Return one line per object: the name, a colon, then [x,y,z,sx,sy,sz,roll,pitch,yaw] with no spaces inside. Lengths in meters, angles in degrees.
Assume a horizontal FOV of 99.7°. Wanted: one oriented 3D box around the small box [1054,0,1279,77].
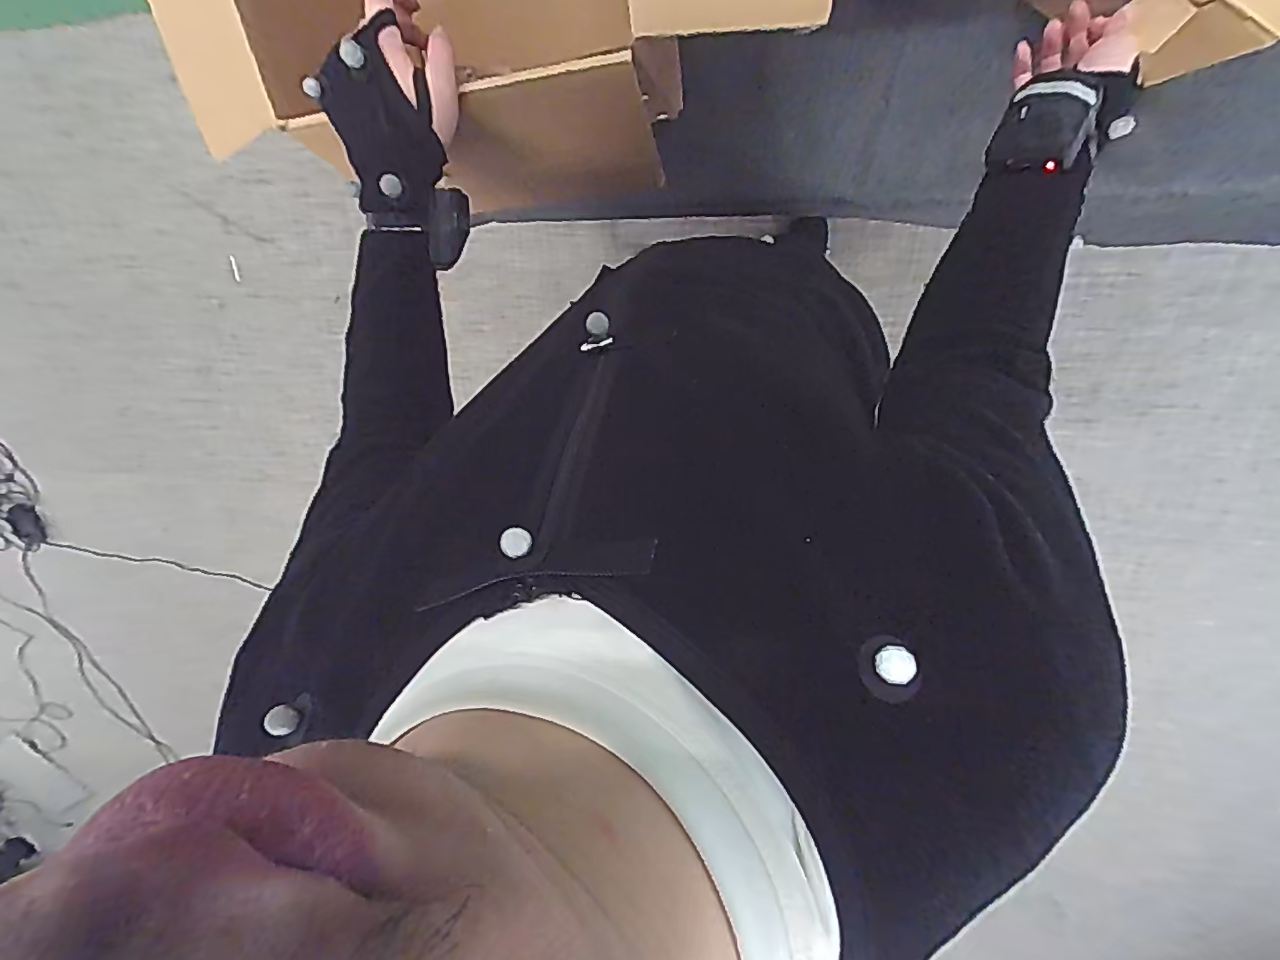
small box: [0.489,-0.483,0.451,0.168,0.176,0.179,35,119,-5]
